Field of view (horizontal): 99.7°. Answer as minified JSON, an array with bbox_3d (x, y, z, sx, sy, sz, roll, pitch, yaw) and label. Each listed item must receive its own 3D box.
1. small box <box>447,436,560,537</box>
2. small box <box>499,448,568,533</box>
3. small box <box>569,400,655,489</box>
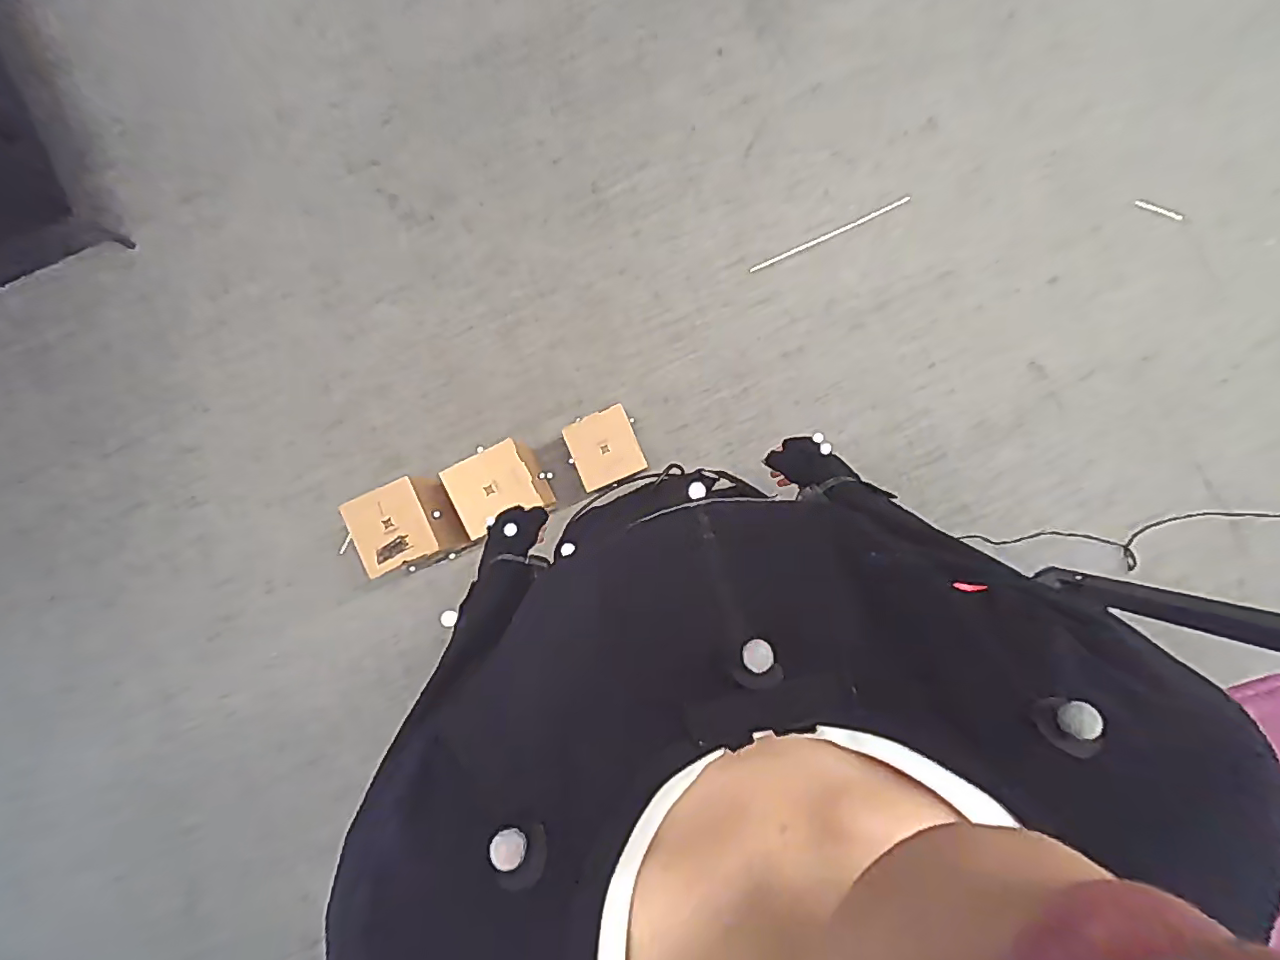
[{"bbox_3d":[-0.302,0.016,1.235,0.179,0.176,0.168,-27,90,0],"label":"small box"},{"bbox_3d":[-0.304,0.023,1.397,0.168,0.176,0.179,-26,89,2],"label":"small box"},{"bbox_3d":[-0.071,-0.085,1.399,0.168,0.176,0.179,-23,90,0],"label":"small box"}]
